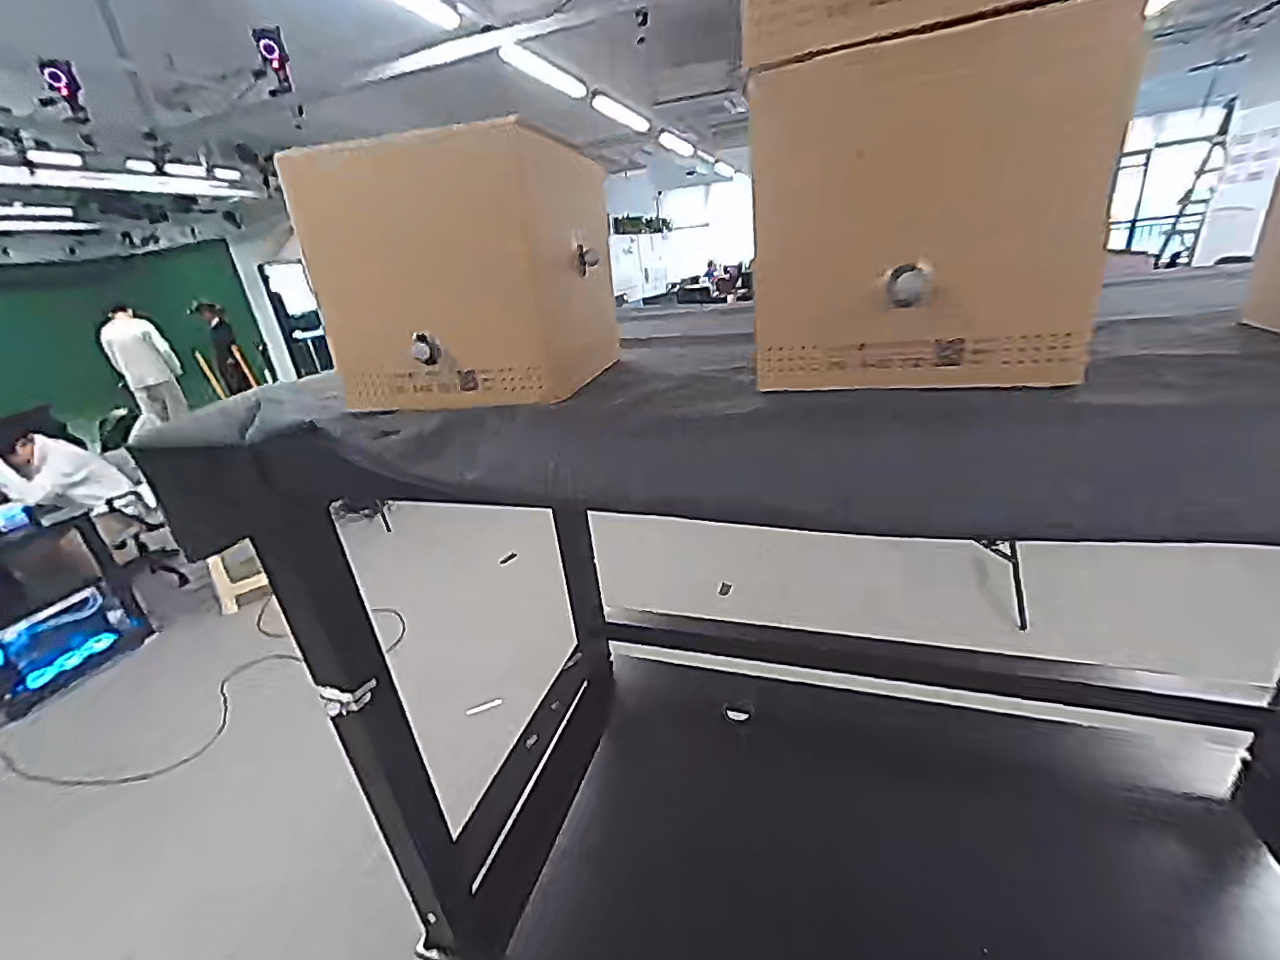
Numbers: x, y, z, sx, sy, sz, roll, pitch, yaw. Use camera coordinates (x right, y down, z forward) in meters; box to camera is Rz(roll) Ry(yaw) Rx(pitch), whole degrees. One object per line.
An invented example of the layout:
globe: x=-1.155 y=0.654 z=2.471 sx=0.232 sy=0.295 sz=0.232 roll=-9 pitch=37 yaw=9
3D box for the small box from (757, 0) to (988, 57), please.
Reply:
small box: x=0.157 y=-0.318 z=0.288 sx=0.168 sy=0.176 sz=0.179 roll=4 pitch=24 yaw=23

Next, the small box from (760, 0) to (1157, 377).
small box: x=0.172 y=-0.165 z=0.346 sx=0.168 sy=0.176 sz=0.179 roll=2 pitch=22 yaw=21

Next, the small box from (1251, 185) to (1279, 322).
small box: x=0.455 y=-0.156 z=0.248 sx=0.168 sy=0.176 sz=0.179 roll=3 pitch=23 yaw=24
